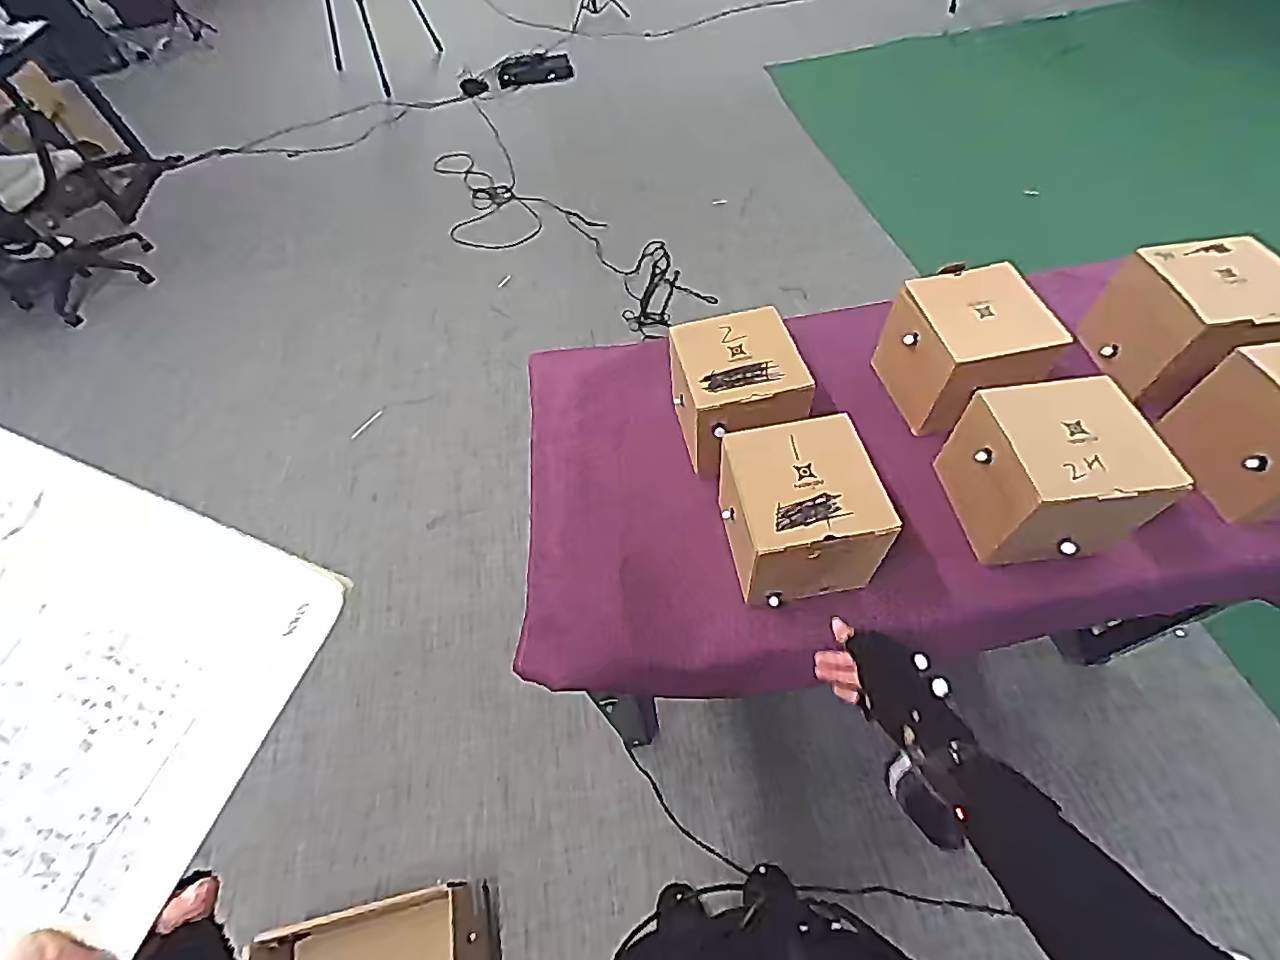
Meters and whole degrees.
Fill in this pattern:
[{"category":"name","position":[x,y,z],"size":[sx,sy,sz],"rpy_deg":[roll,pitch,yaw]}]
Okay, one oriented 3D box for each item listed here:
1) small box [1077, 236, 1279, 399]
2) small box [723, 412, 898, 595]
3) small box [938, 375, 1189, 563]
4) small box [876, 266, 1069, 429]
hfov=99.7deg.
[{"category":"small box","position":[0.833,-0.239,0.827],"size":[0.168,0.176,0.179],"rpy_deg":[-5,57,3]},{"category":"small box","position":[0.207,0.040,0.711],"size":[0.168,0.176,0.179],"rpy_deg":[-9,56,1]},{"category":"small box","position":[0.526,-0.011,0.710],"size":[0.168,0.176,0.179],"rpy_deg":[-6,56,3]},{"category":"small box","position":[0.495,-0.196,0.840],"size":[0.168,0.176,0.179],"rpy_deg":[-11,56,-1]}]
